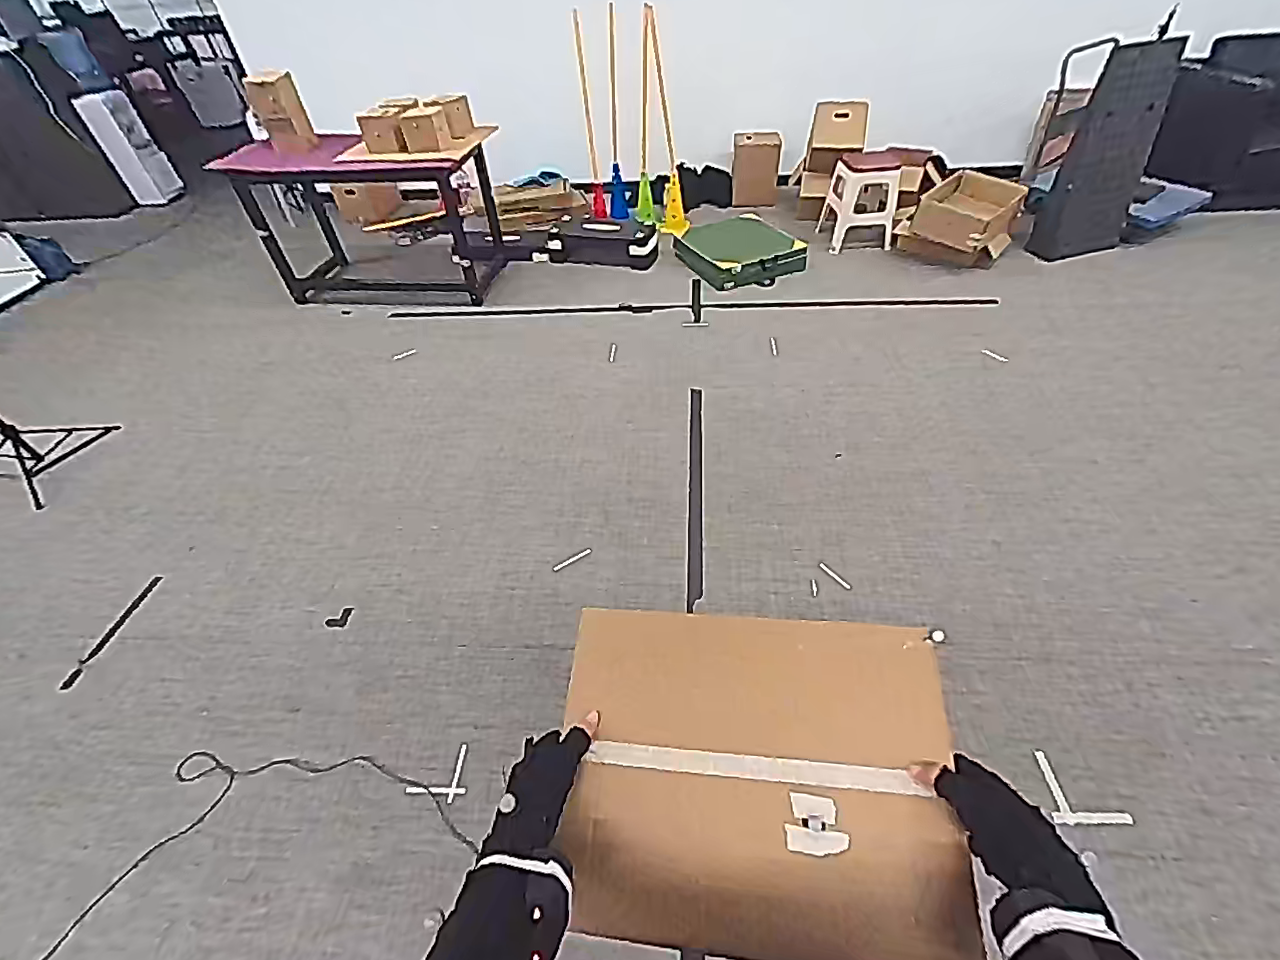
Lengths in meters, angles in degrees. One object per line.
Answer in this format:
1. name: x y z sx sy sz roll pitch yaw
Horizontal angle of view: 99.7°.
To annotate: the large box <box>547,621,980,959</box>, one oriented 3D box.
1. large box: 0.134 0.388 0.697 0.408 0.320 0.320 1 60 10
